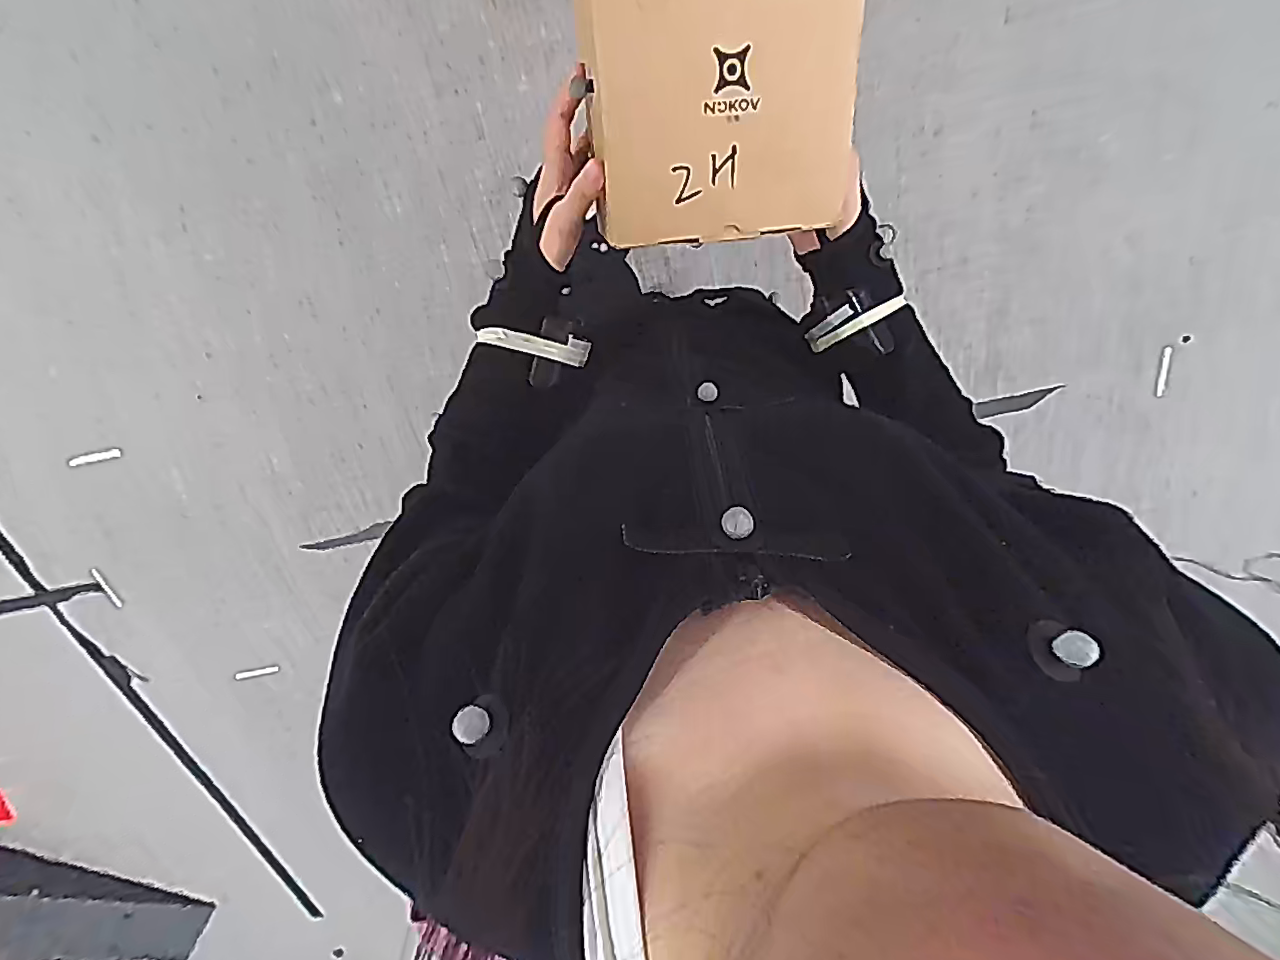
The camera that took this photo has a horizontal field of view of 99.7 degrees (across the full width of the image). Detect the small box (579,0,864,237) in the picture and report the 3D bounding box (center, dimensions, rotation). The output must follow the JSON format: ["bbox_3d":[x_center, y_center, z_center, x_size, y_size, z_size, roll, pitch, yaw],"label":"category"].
[{"bbox_3d":[0.046,-0.287,0.407,0.168,0.176,0.179,-7,119,-4],"label":"small box"}]
